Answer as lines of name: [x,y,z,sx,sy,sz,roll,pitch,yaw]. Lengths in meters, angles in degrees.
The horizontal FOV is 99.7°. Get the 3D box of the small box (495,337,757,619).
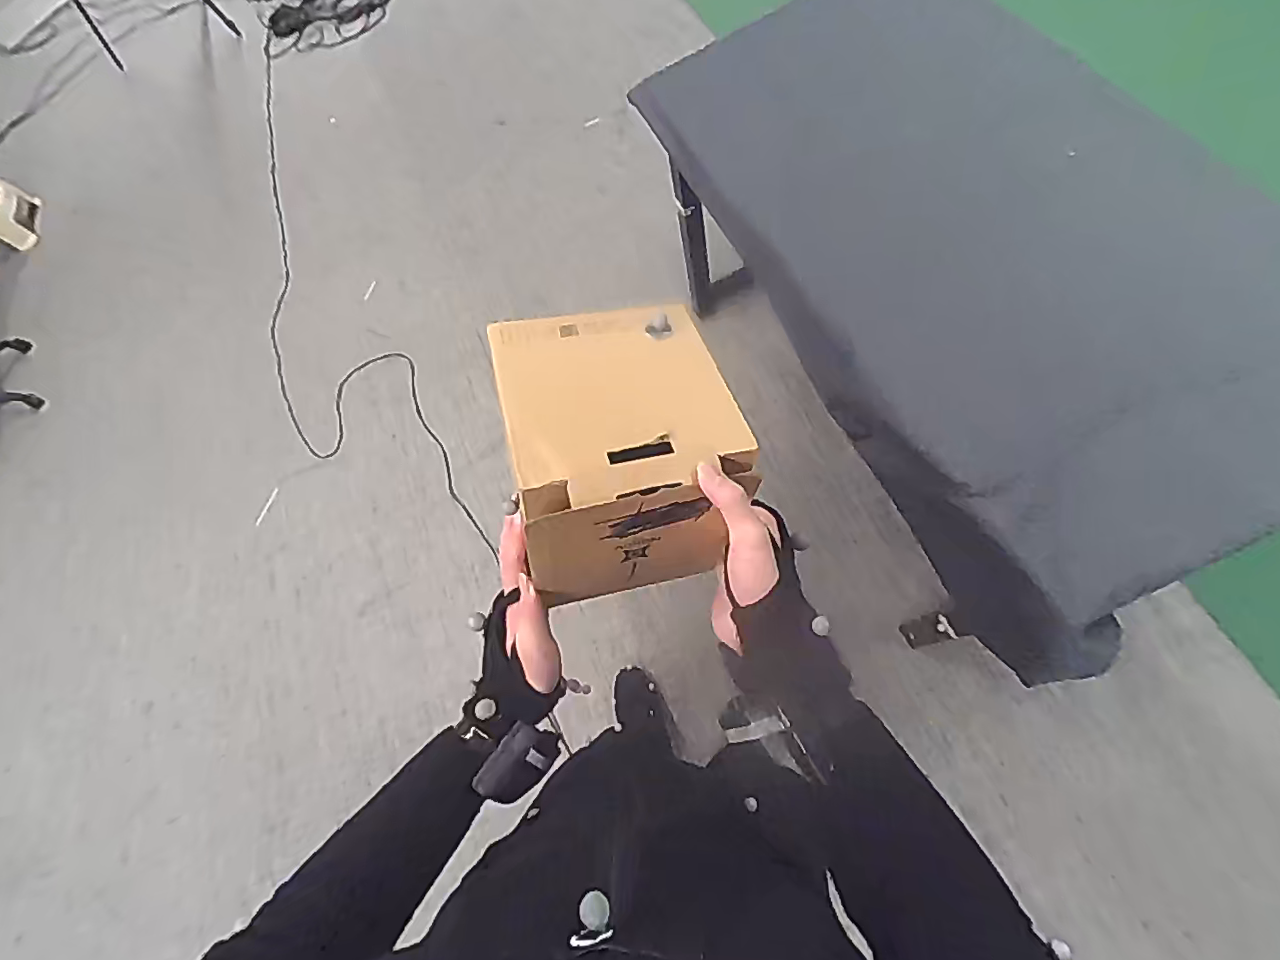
small box: [-0.025,-0.008,0.468,0.168,0.179,0.176,-10,55,-14]
